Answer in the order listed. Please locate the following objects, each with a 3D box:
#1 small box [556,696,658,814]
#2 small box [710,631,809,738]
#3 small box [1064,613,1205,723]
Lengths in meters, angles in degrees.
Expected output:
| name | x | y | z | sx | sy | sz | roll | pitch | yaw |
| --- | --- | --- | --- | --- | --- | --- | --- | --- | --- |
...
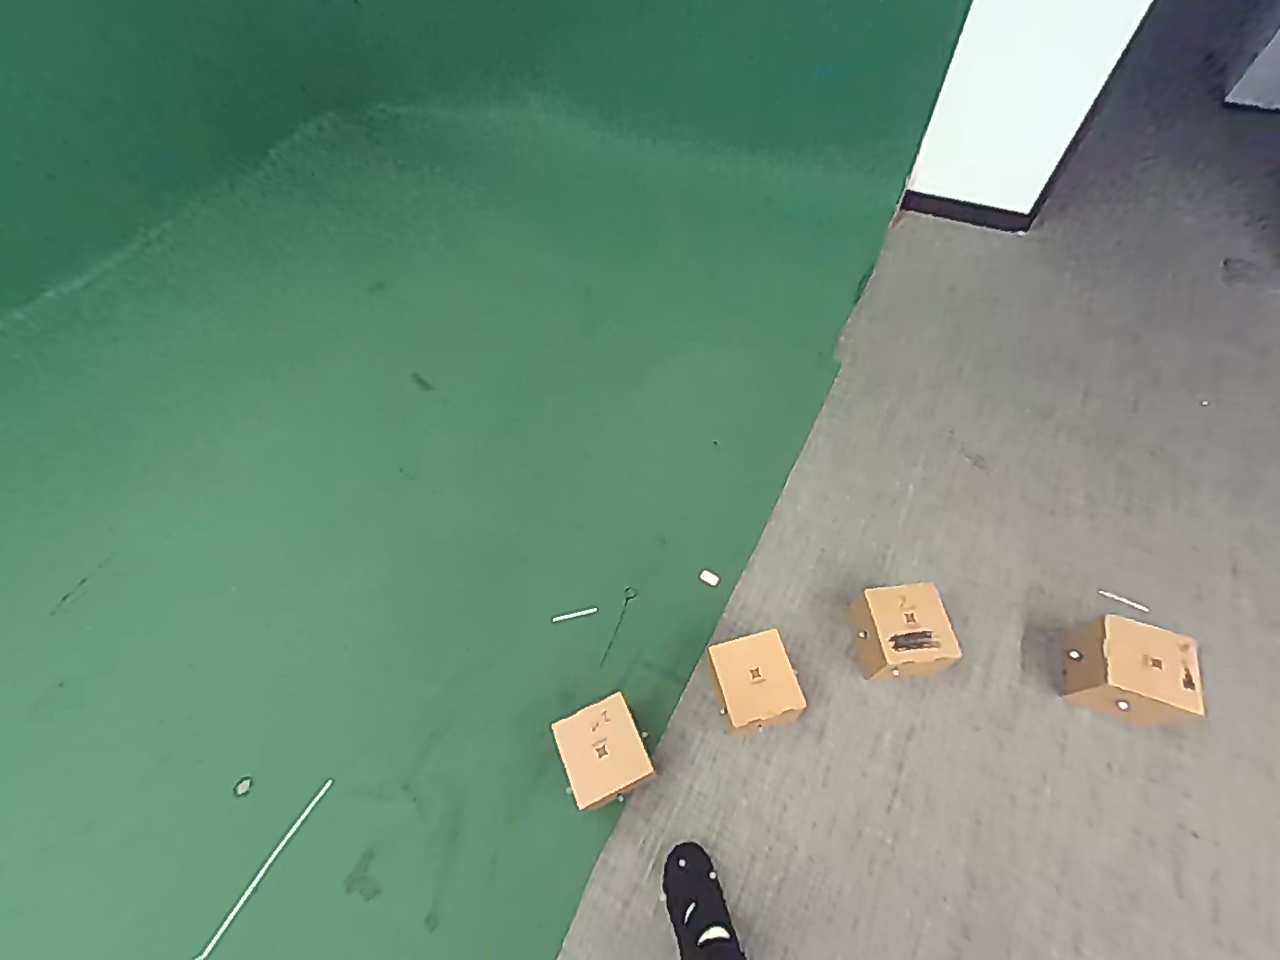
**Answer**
| name | x | y | z | sx | sy | sz | roll | pitch | yaw |
| --- | --- | --- | --- | --- | --- | --- | --- | --- | --- |
| small box | -0.068 | 0.608 | 1.194 | 0.168 | 0.176 | 0.179 | -23 | 59 | -10 |
| small box | 0.265 | 0.475 | 1.252 | 0.168 | 0.176 | 0.179 | -15 | 59 | -5 |
| small box | 1.088 | 0.425 | 1.209 | 0.179 | 0.176 | 0.168 | 16 | 61 | 15 |
